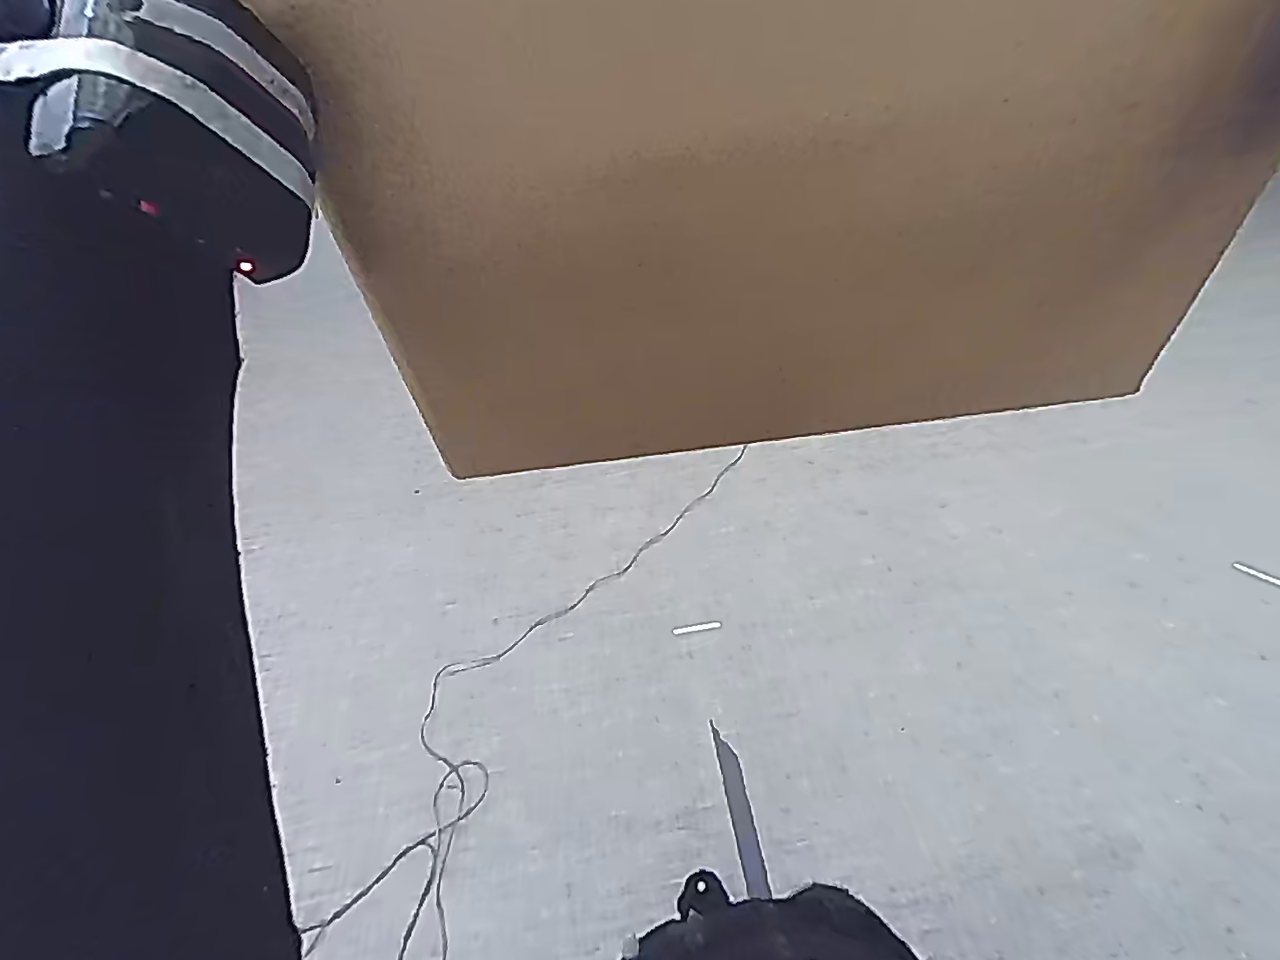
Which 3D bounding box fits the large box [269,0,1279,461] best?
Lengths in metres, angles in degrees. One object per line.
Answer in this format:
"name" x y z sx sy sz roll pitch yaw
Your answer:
"large box" 0.057 -0.243 0.339 0.408 0.320 0.320 -7 44 0
